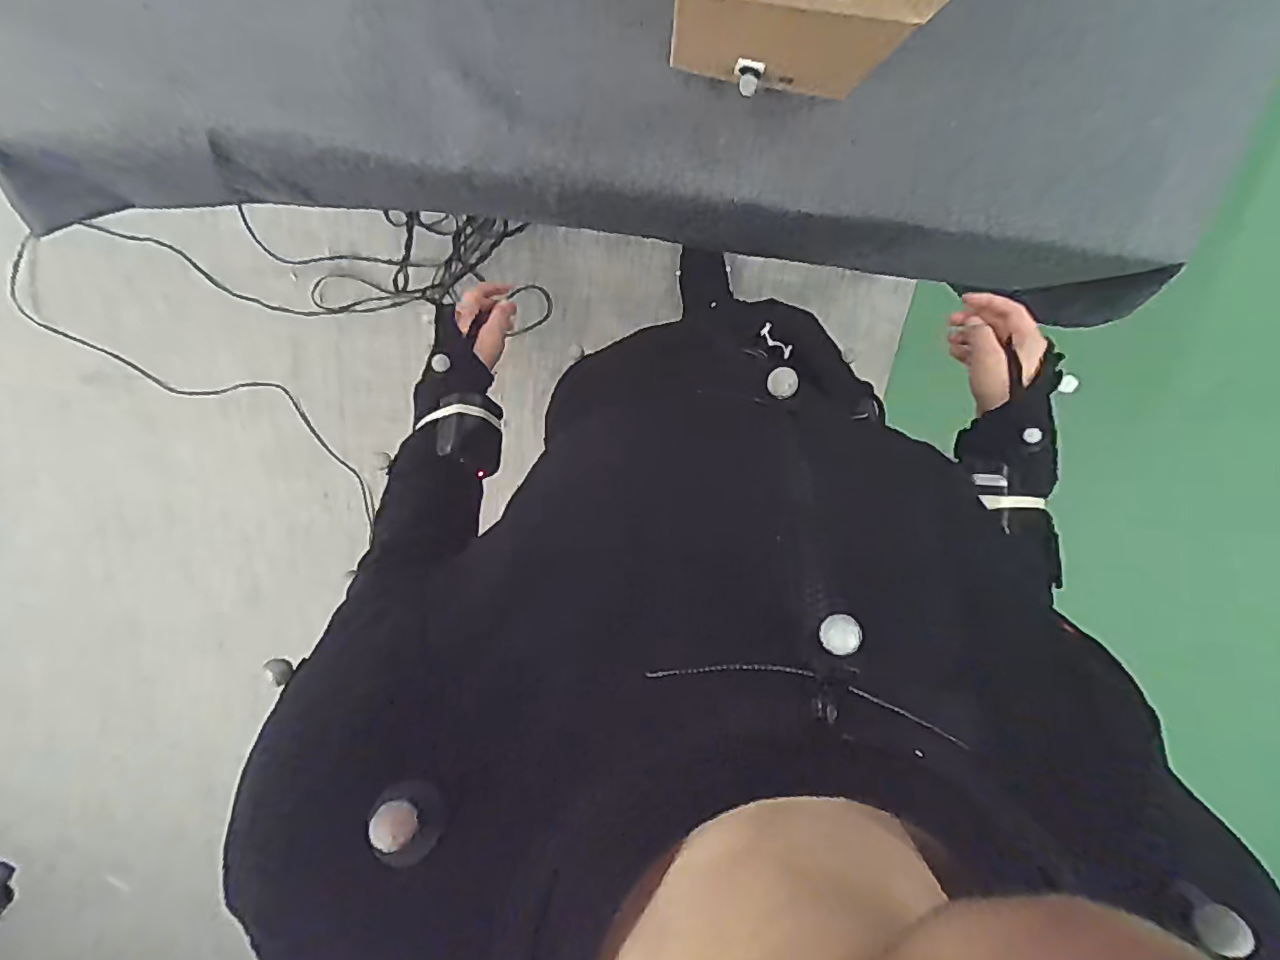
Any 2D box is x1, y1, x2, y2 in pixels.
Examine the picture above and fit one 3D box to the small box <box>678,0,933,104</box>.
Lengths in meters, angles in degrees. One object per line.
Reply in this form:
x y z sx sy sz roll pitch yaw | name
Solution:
0.121 -0.410 0.391 0.168 0.176 0.179 8 110 0 | small box
